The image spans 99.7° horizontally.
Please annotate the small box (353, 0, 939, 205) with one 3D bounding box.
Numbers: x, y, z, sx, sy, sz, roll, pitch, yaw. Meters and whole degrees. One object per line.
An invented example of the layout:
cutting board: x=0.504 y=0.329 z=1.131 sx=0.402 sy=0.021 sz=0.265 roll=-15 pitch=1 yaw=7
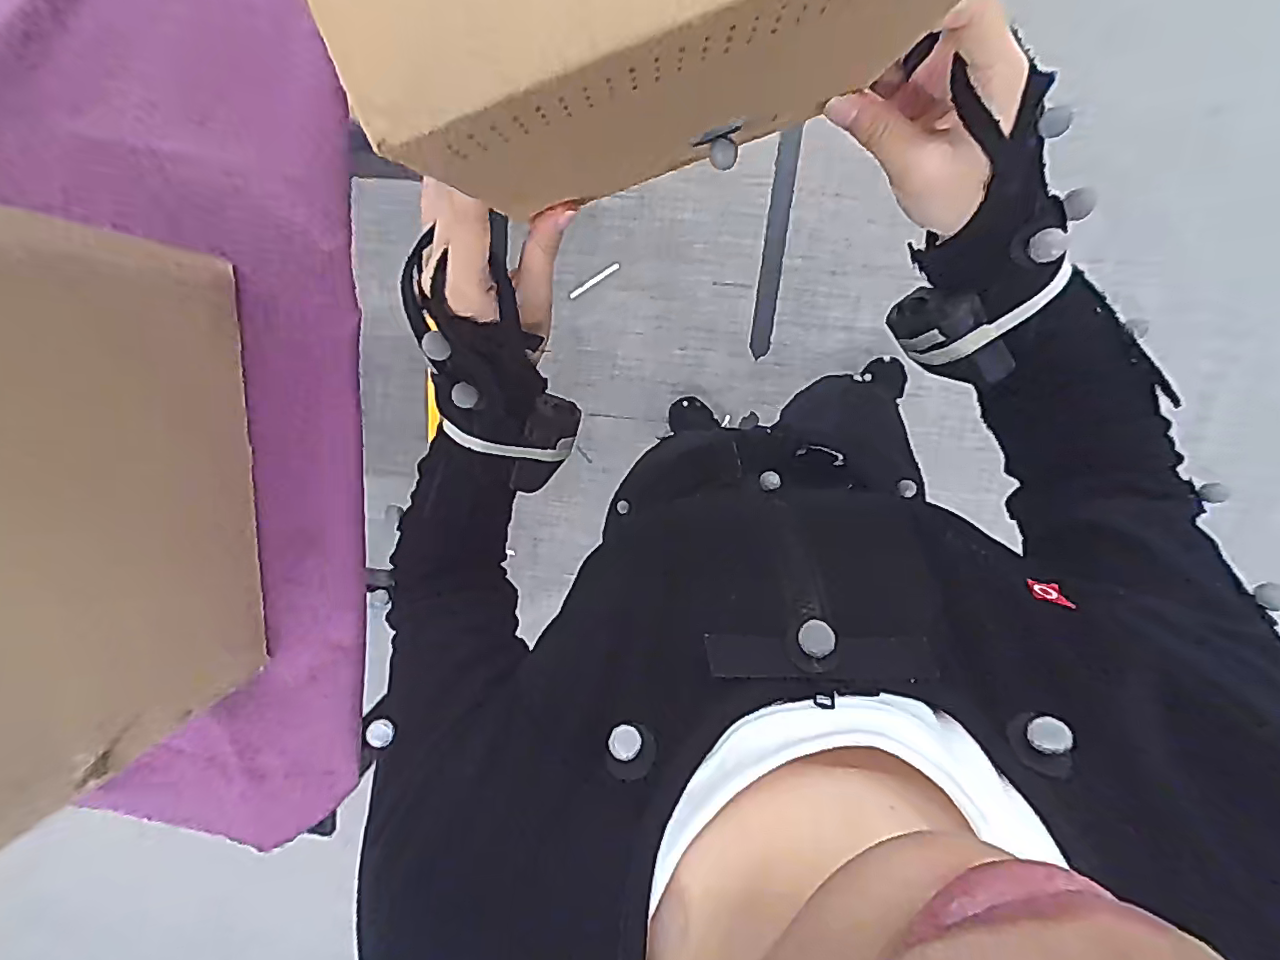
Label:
small box: x=0.002 y=-0.209 z=0.167 sx=0.179 sy=0.176 sz=0.168 roll=-17 pitch=108 yaw=7
